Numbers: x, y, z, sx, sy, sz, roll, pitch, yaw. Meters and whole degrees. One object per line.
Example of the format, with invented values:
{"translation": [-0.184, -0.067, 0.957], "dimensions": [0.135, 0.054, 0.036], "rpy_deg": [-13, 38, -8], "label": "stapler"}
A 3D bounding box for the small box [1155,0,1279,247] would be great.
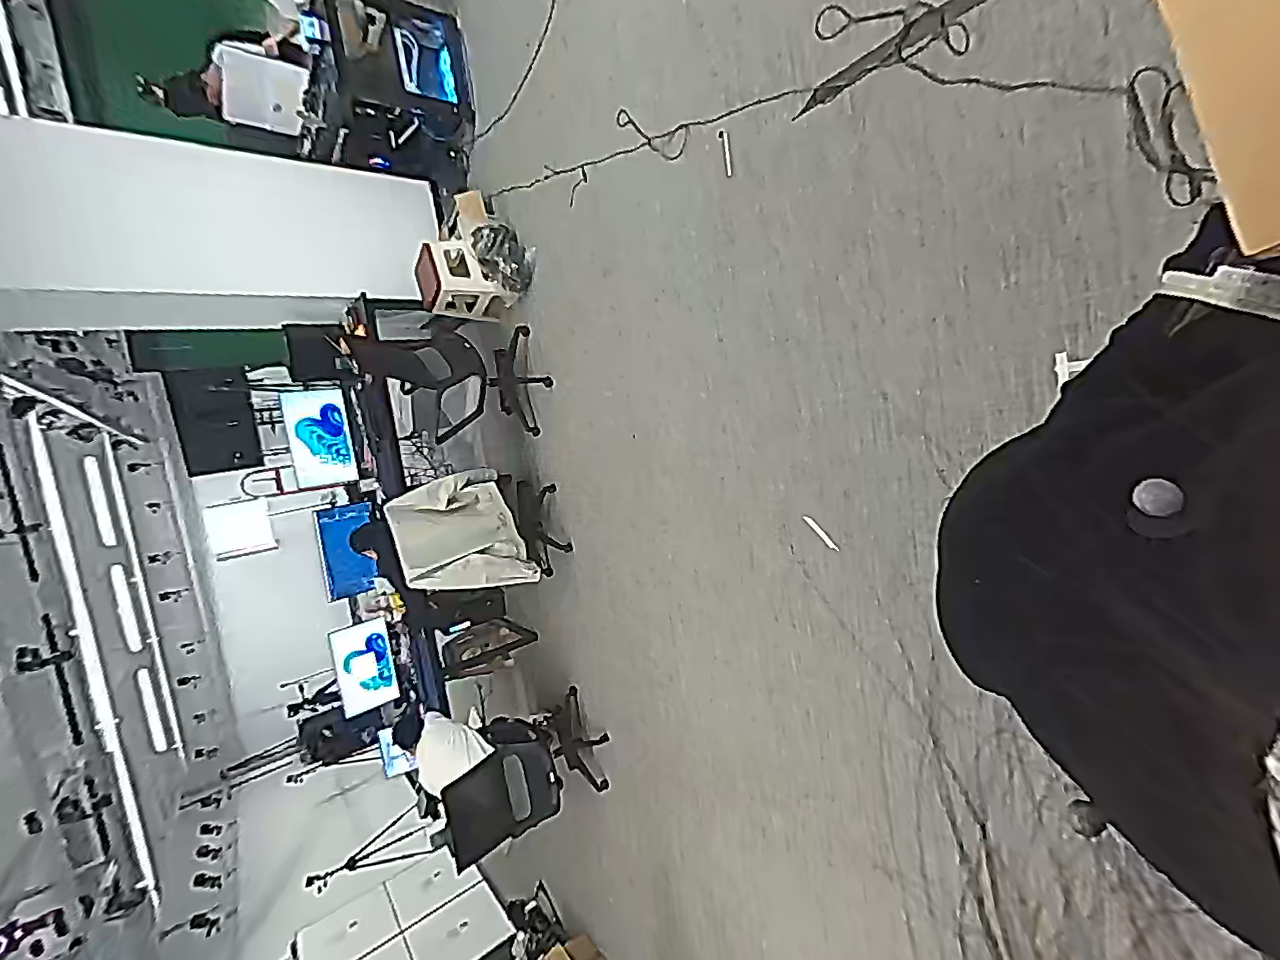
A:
{"translation": [0.345, -0.213, 0.198], "dimensions": [0.168, 0.176, 0.179], "rpy_deg": [156, 98, -69], "label": "small box"}
